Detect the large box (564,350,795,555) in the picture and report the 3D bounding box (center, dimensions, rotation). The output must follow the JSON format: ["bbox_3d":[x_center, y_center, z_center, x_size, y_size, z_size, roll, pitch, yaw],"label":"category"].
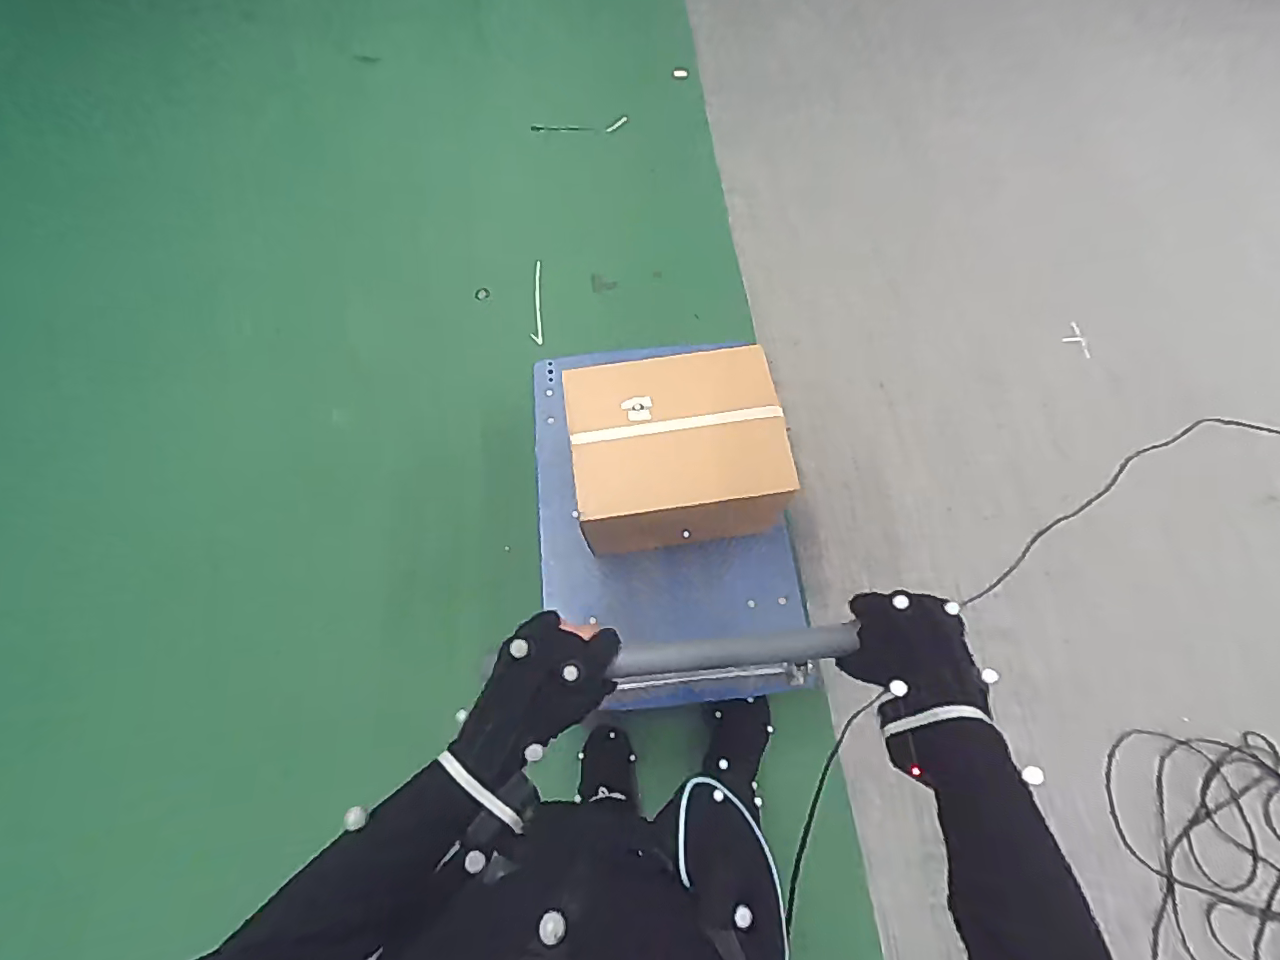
[{"bbox_3d":[0.071,-0.042,1.173,0.408,0.320,0.320,-8,70,-2],"label":"large box"}]
